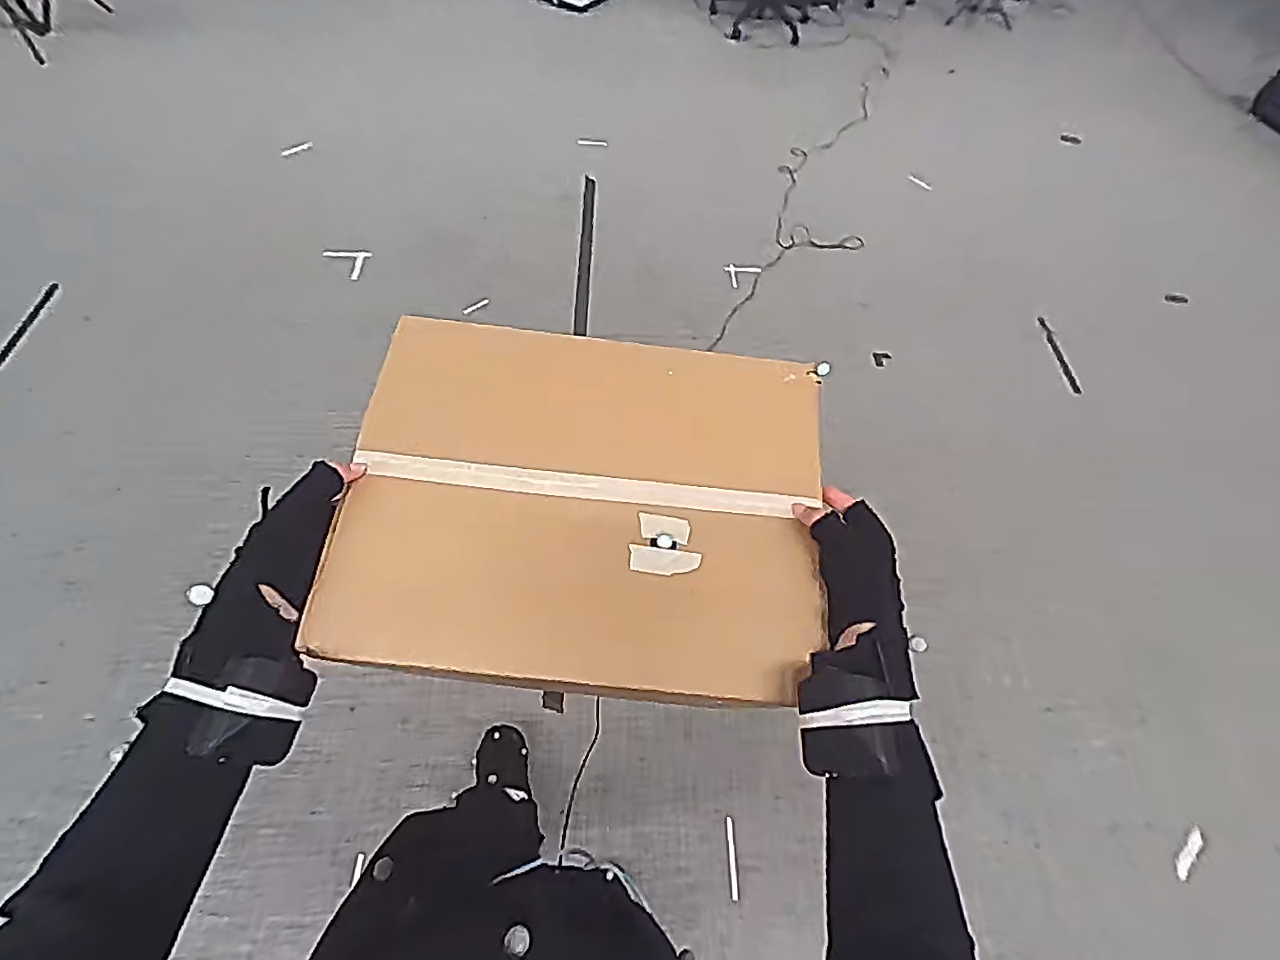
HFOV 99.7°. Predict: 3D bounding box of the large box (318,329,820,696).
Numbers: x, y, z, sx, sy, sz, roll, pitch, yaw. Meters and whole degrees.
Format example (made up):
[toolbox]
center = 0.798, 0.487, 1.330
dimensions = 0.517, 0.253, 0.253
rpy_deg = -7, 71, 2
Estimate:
[large box]
center = -0.056, 0.066, 0.617
dimensions = 0.408, 0.320, 0.320
rpy_deg = 6, 68, -3
